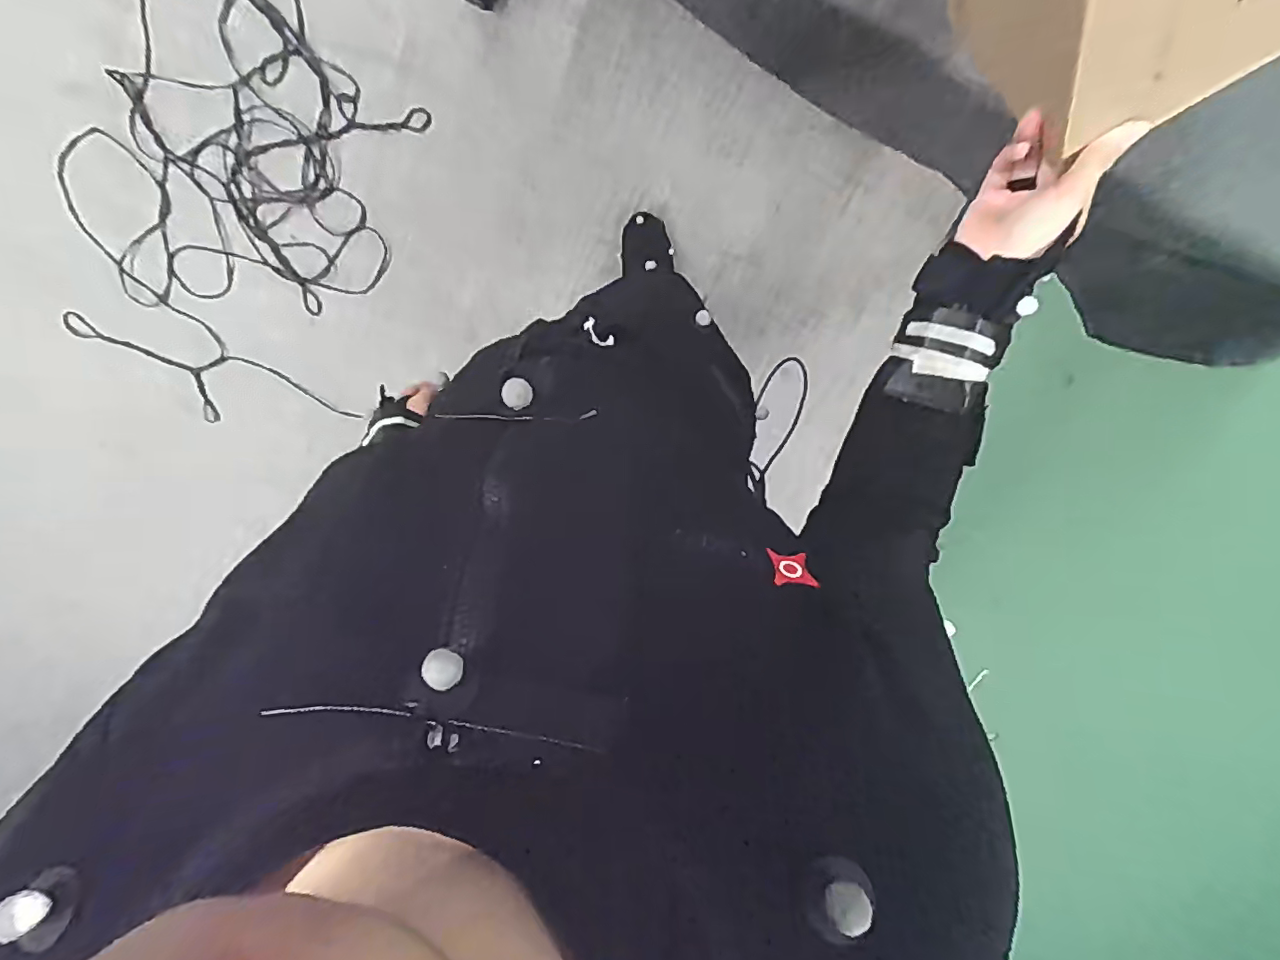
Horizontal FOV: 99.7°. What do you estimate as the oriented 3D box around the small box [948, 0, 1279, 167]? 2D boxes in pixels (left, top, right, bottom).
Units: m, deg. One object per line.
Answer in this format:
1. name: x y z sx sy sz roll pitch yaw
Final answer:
1. small box: 0.286 -0.327 0.284 0.179 0.168 0.176 -27 68 28
